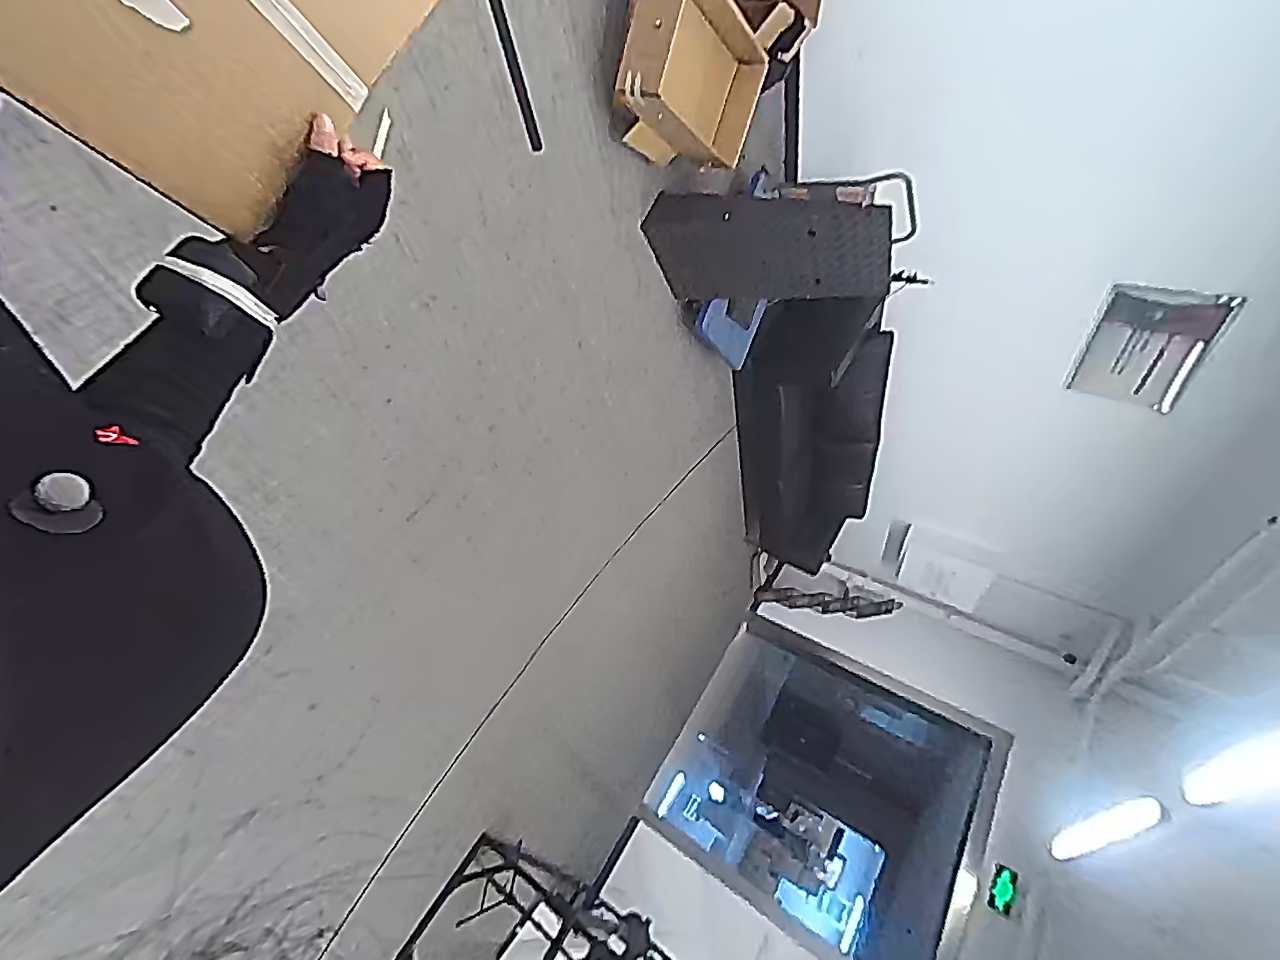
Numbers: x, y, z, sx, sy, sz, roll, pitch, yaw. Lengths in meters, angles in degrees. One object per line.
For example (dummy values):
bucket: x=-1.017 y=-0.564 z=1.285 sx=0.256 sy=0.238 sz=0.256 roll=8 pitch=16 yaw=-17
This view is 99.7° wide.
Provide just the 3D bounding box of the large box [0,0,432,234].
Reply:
large box: x=-0.426 y=-0.461 z=0.364 sx=0.320 sy=0.320 sz=0.408 roll=-54 pitch=152 yaw=-1
